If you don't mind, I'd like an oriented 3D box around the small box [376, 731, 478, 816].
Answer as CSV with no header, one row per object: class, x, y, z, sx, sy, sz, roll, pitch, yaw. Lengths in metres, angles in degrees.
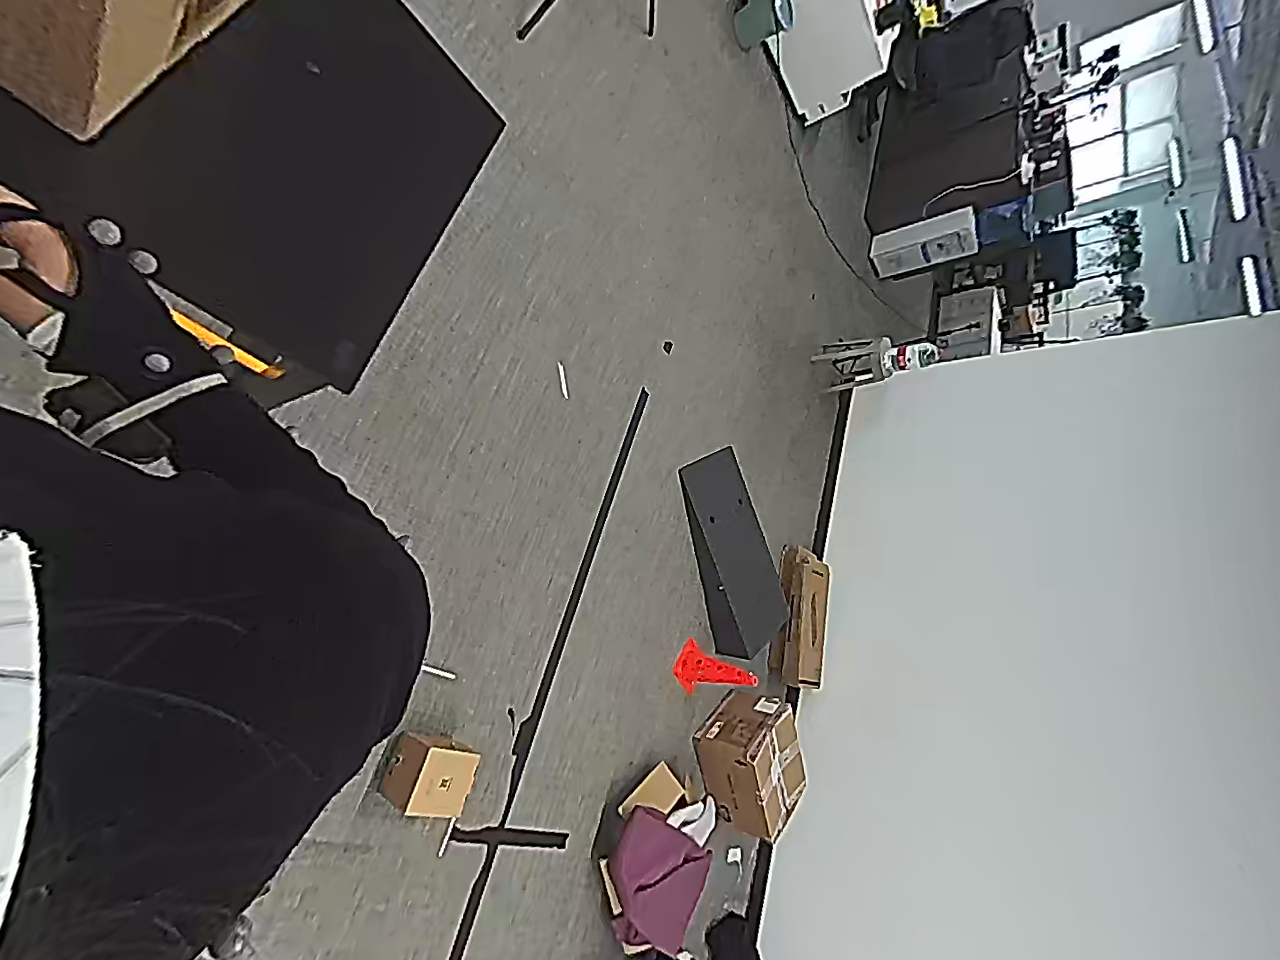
small box,-0.598,0.820,1.515,0.179,0.176,0.168,36,61,-41
